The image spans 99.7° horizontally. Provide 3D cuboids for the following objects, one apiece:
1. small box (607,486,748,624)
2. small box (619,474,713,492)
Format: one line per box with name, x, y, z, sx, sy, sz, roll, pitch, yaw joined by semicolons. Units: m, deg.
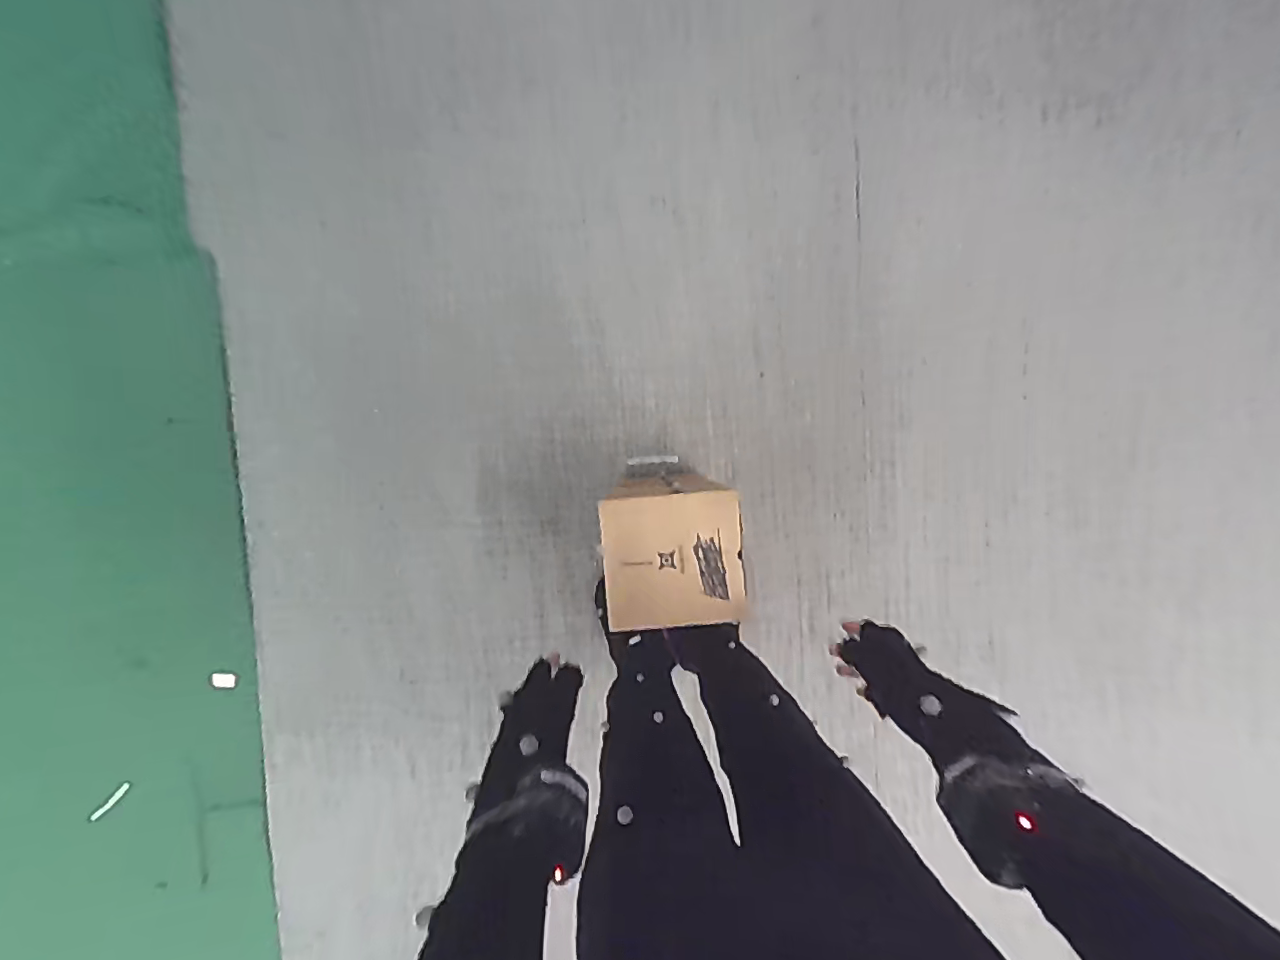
small box;0.047;0.094;0.751;0.179;0.176;0.168;-2;91;1
small box;0.055;0.078;1.081;0.179;0.176;0.168;-5;92;3
